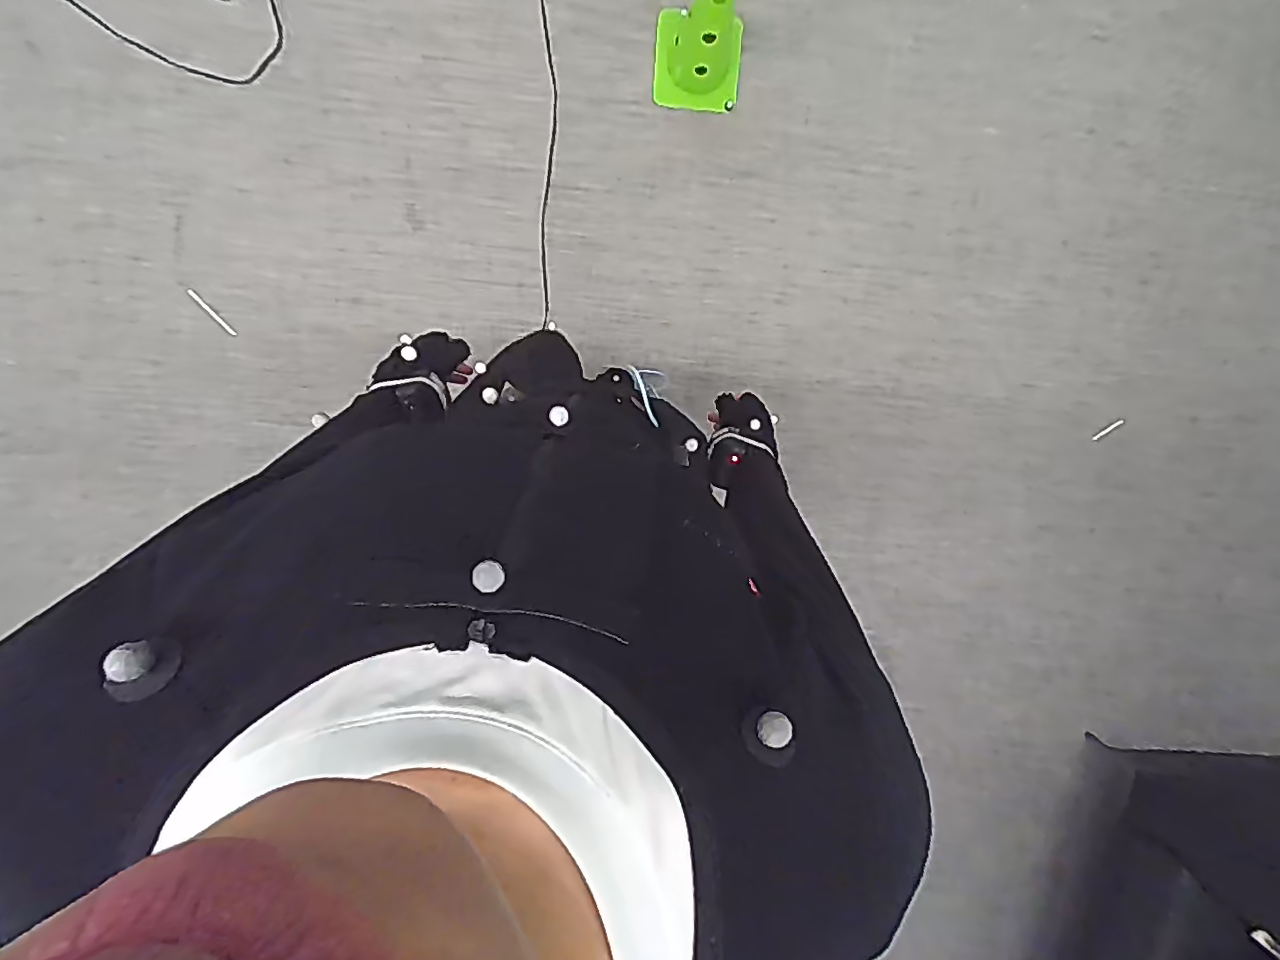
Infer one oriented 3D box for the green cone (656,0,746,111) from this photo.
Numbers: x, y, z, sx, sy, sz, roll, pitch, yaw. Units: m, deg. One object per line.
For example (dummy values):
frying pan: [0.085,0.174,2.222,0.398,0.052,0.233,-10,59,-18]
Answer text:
green cone: [0.146,-0.950,1.101,0.202,0.368,0.200,4,102,-2]
